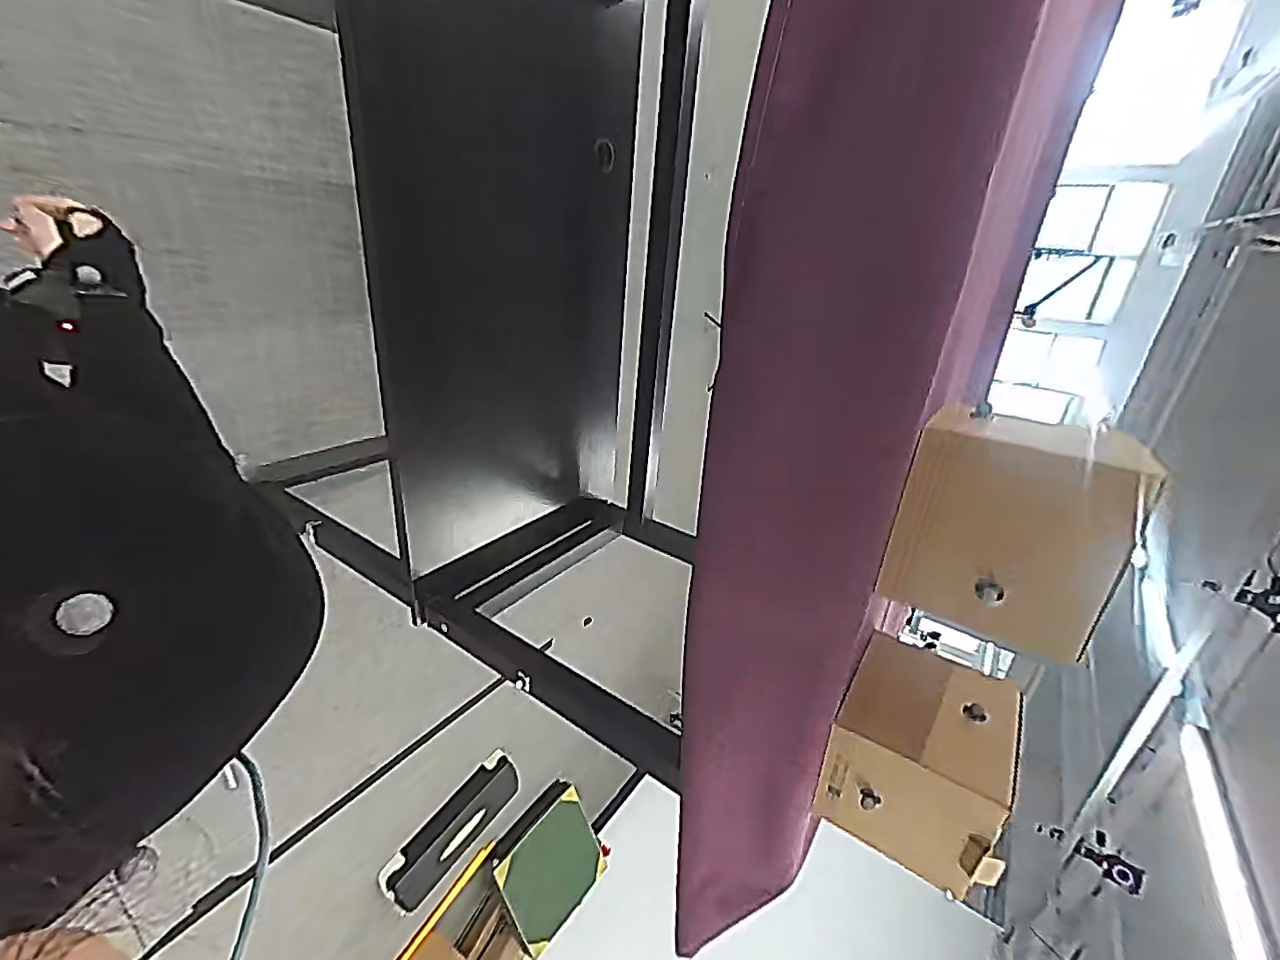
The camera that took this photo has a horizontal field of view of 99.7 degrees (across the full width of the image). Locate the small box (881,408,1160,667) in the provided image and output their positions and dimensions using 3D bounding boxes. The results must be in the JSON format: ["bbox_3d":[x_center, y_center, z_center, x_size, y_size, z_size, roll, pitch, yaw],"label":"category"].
[{"bbox_3d":[0.351,0.039,0.531,0.168,0.176,0.179,-23,125,-53],"label":"small box"}]

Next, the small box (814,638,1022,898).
[{"bbox_3d":[0.325,0.322,0.641,0.179,0.176,0.168,-34,133,-47],"label":"small box"}]

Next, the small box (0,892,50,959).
[{"bbox_3d":[-1.402,1.050,1.153,0.179,0.176,0.168,-19,123,-52],"label":"small box"}]
